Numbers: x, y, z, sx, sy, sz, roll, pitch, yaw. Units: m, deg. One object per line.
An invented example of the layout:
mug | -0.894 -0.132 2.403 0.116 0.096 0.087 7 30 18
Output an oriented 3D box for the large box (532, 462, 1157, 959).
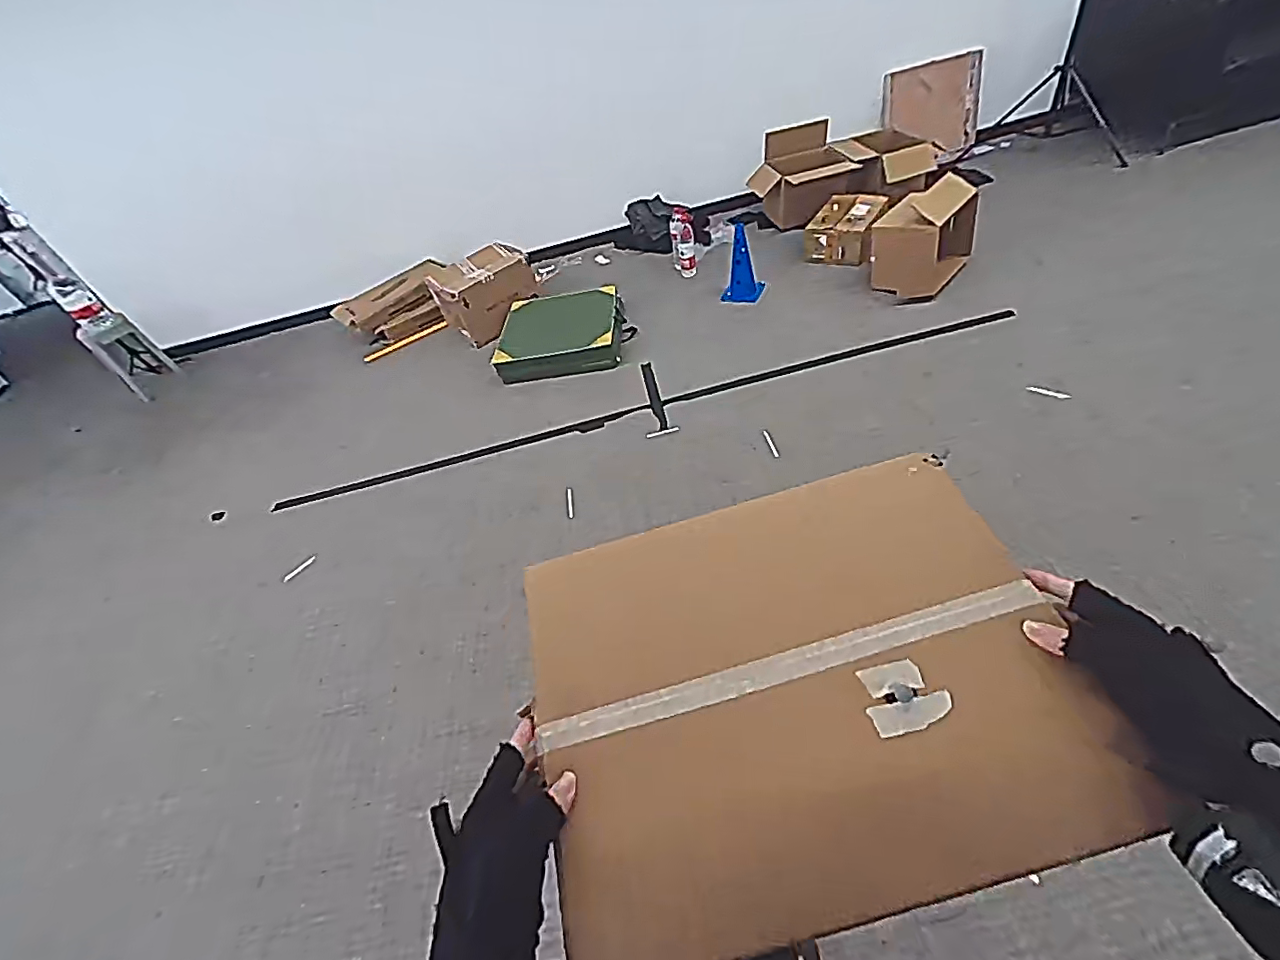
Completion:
large box | 0.141 0.242 0.558 0.408 0.320 0.320 -17 52 0
